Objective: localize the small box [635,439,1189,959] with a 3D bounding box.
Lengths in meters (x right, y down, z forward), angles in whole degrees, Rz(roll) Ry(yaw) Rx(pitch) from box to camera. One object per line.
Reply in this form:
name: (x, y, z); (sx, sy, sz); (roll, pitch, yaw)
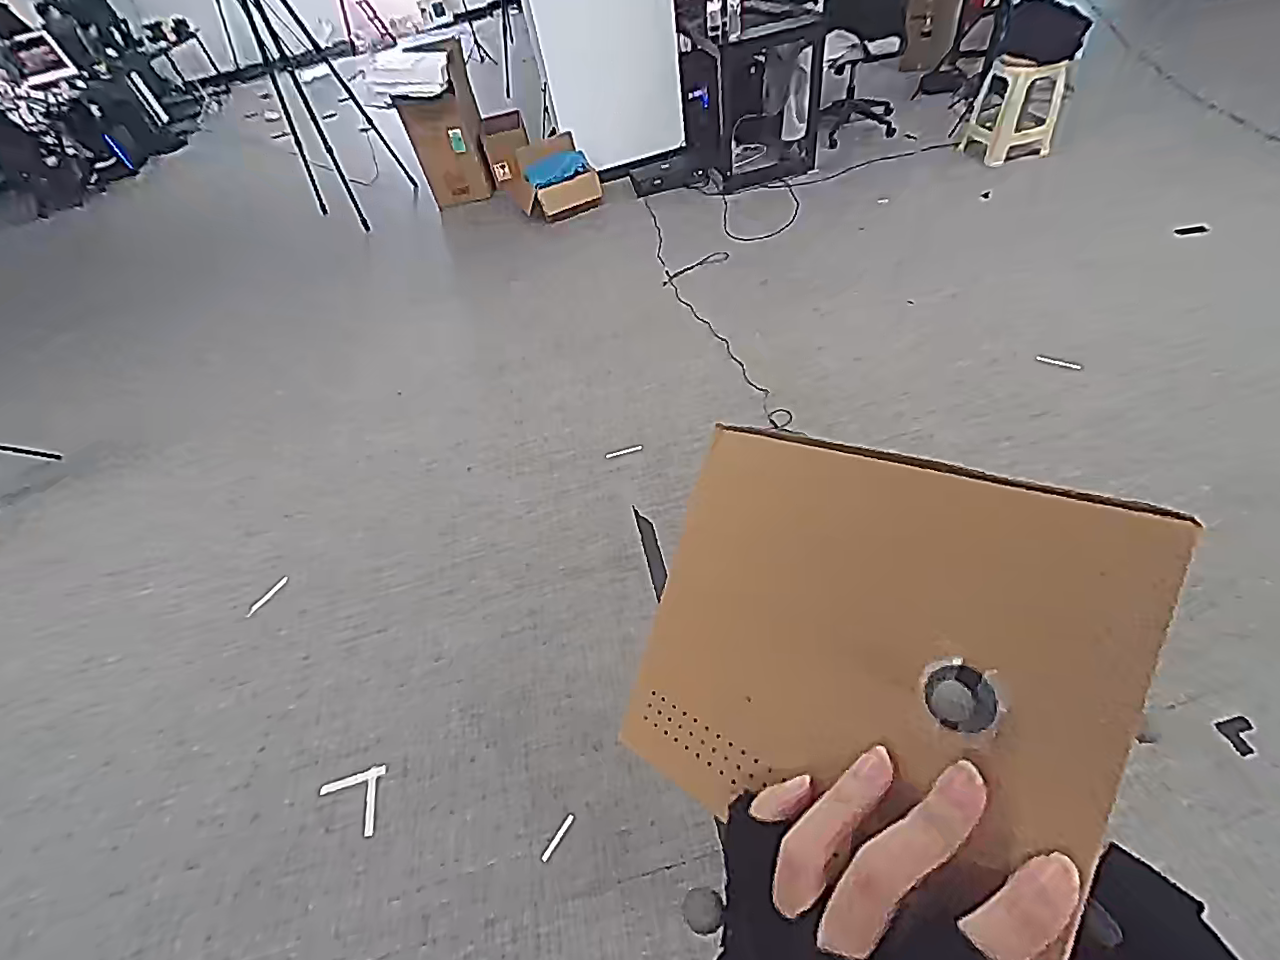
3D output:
small box: (0.127, 0.091, 0.276); (0.179, 0.168, 0.176); (18, 91, 41)
